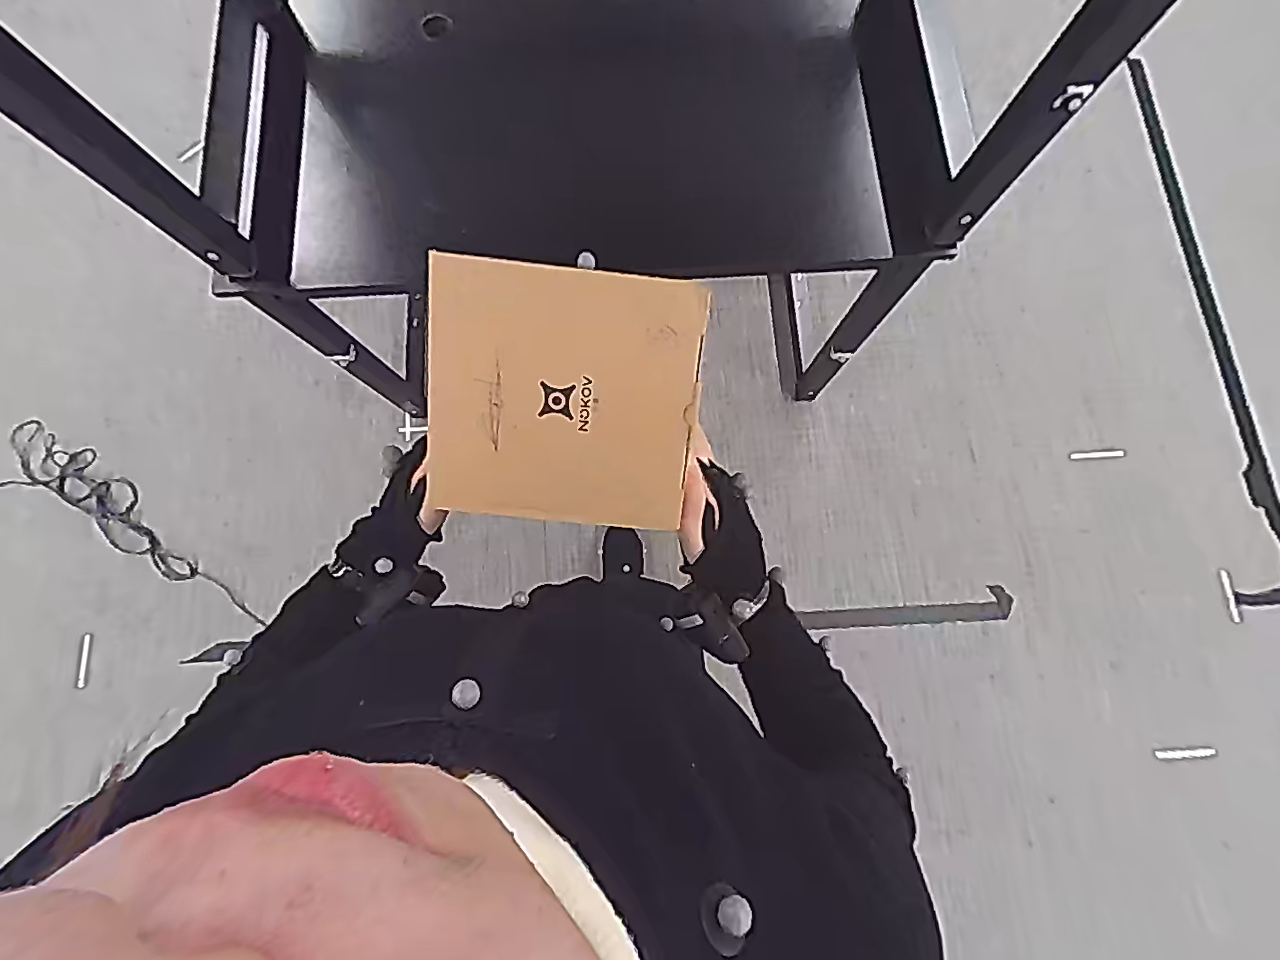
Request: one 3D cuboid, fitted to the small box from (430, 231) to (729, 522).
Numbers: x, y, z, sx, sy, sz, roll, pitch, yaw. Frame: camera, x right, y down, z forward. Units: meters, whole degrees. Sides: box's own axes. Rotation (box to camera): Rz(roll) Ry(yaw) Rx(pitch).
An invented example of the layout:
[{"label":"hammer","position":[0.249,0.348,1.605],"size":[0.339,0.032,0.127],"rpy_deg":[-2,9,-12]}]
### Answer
[{"label":"small box","position":[-0.043,-0.079,0.413],"size":[0.179,0.176,0.168],"rpy_deg":[6,105,-2]}]
